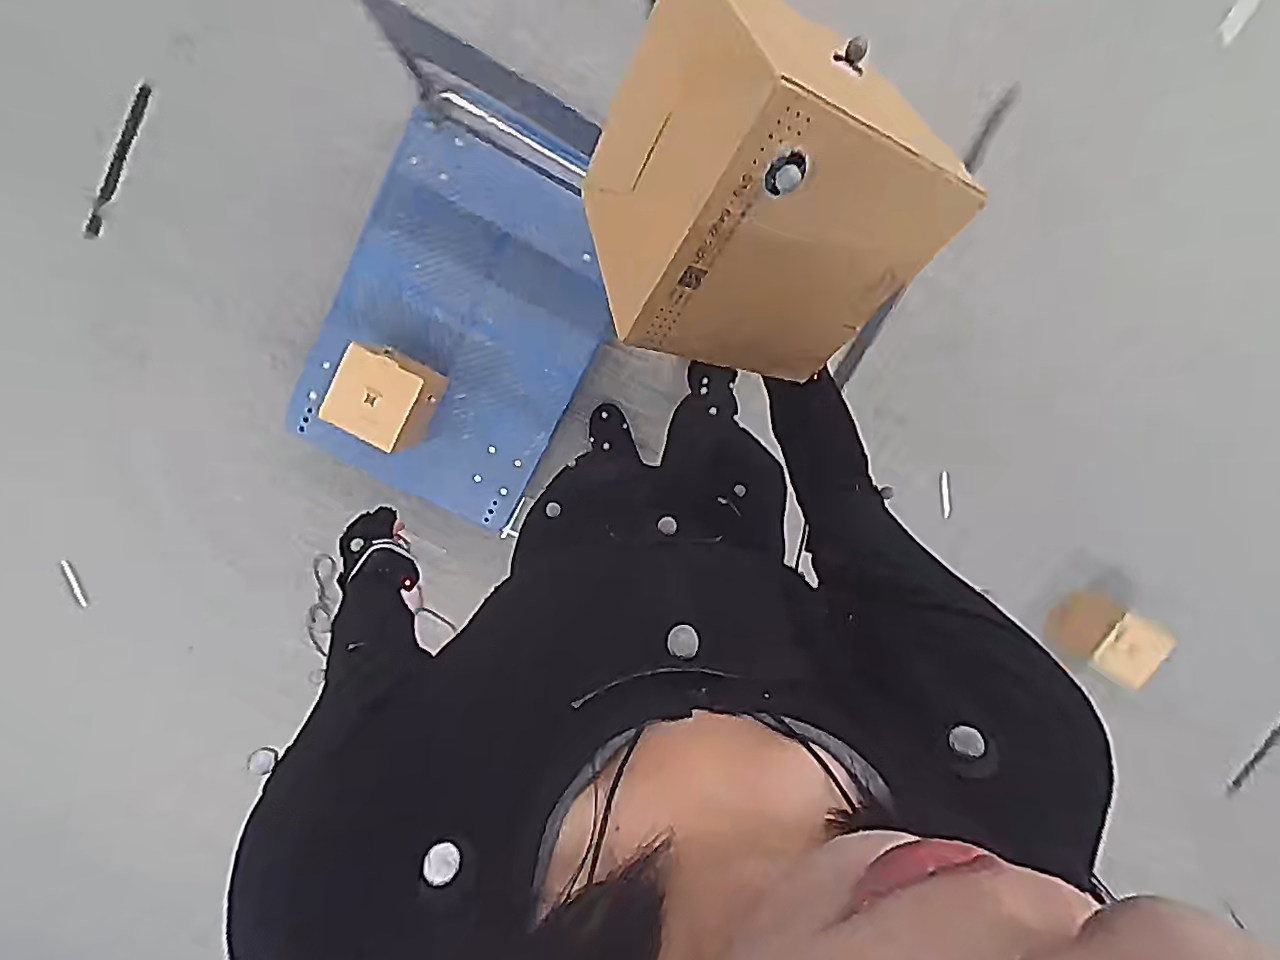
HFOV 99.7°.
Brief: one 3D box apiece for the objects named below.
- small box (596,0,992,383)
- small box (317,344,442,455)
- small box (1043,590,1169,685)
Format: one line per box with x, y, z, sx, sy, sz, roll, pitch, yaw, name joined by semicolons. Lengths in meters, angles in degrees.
0.082;-0.196;0.372;0.176;0.179;0.168;6;145;-30;small box
-0.559;-0.178;1.190;0.168;0.176;0.179;27;99;-5;small box
1.332;0.445;1.557;0.179;0.176;0.168;31;99;-7;small box
